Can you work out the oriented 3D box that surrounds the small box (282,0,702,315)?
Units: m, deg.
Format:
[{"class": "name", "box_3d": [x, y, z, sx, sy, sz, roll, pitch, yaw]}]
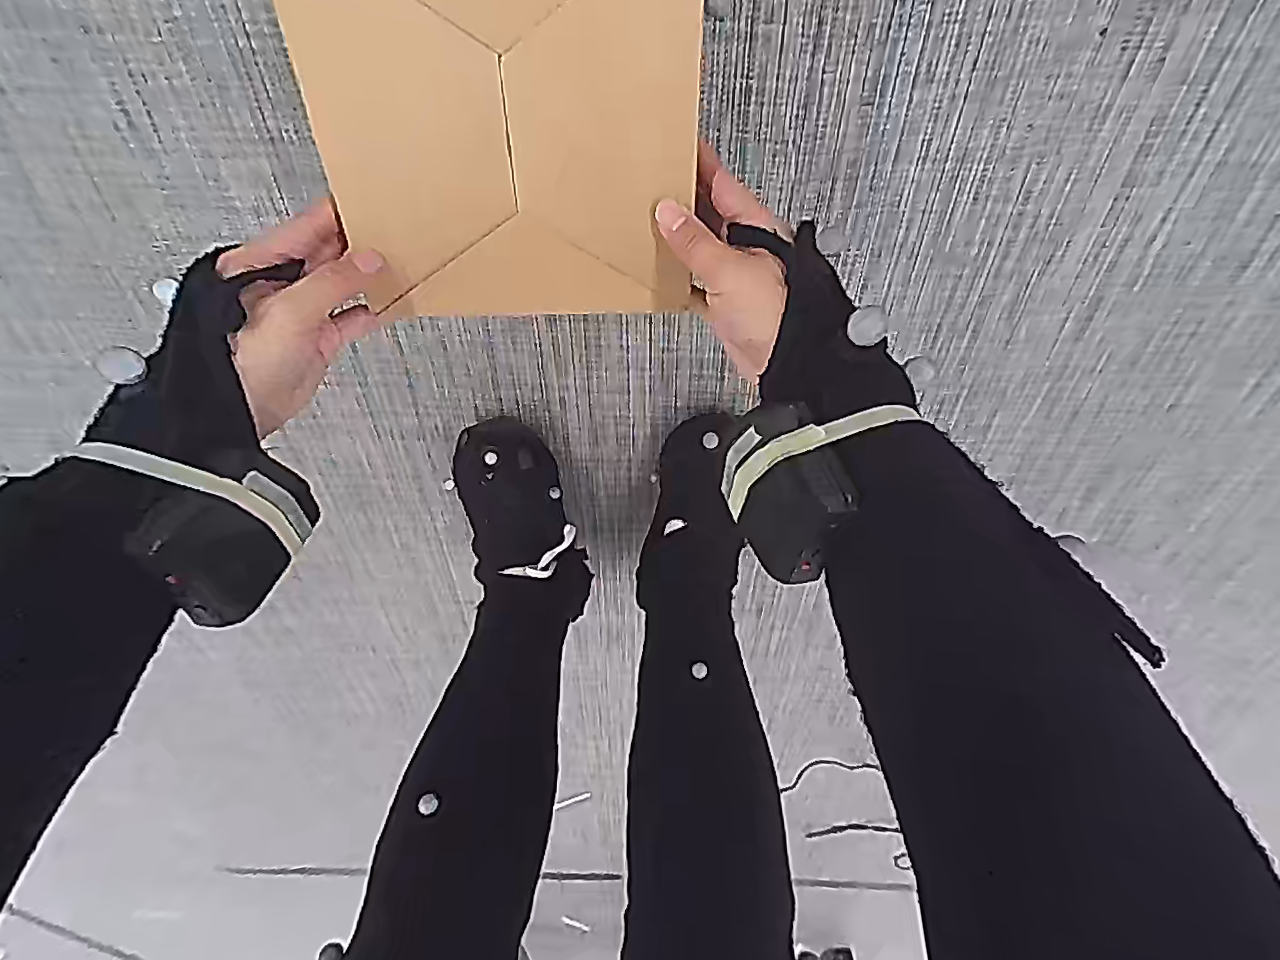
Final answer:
[{"class": "small box", "box_3d": [-0.060, -0.205, 0.316, 0.179, 0.176, 0.168, -2, 127, -2]}]
